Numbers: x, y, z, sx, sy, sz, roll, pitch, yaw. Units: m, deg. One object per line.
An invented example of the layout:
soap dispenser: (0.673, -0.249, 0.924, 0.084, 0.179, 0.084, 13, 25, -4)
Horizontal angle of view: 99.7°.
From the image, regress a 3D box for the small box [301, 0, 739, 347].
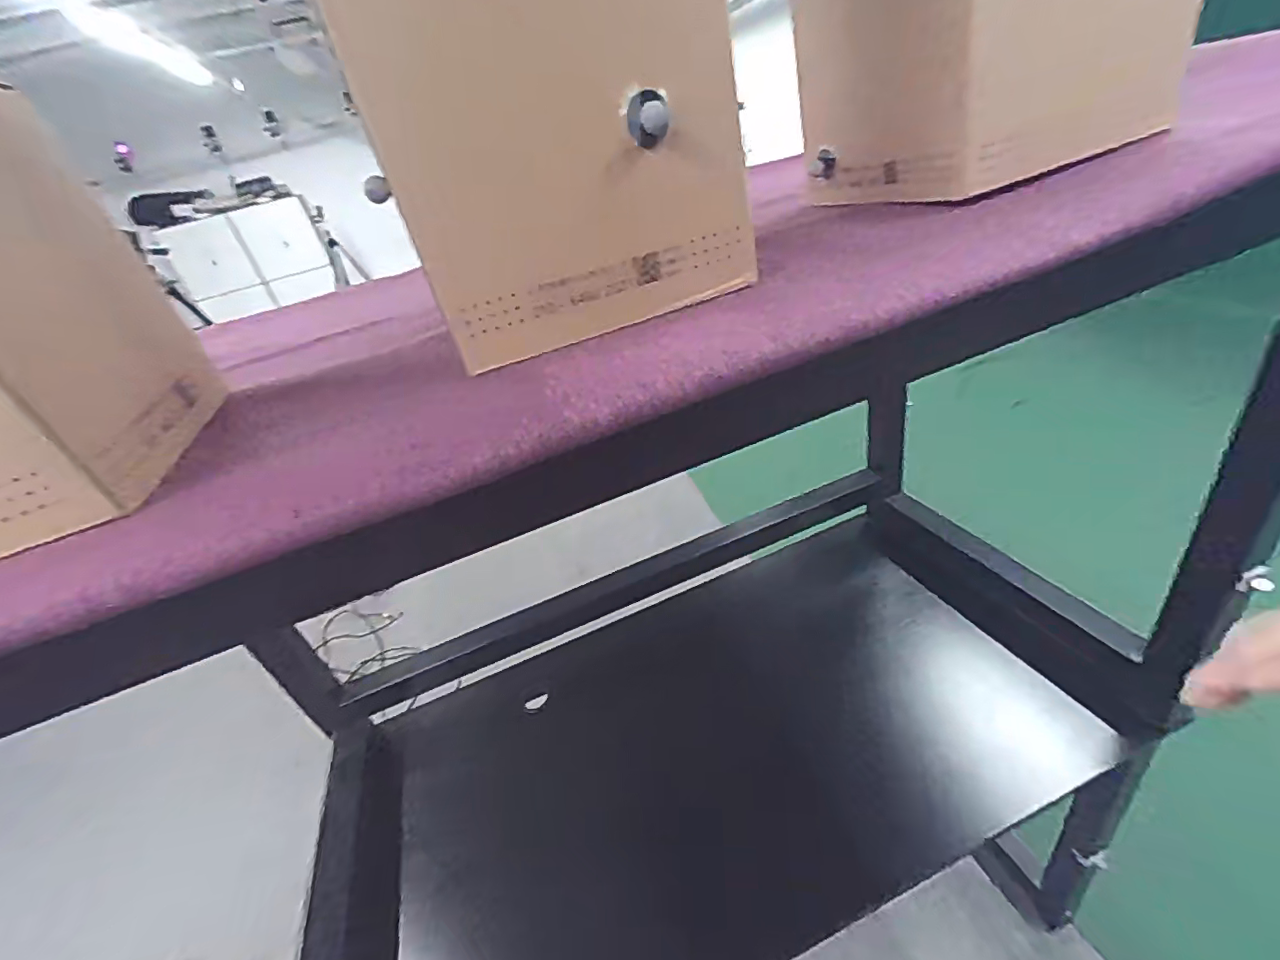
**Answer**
small box: (-0.058, -0.189, 0.307, 0.168, 0.176, 0.179, -20, 32, -9)

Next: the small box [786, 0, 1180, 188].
small box: (0.224, -0.309, 0.368, 0.179, 0.176, 0.168, -22, 30, -10)
